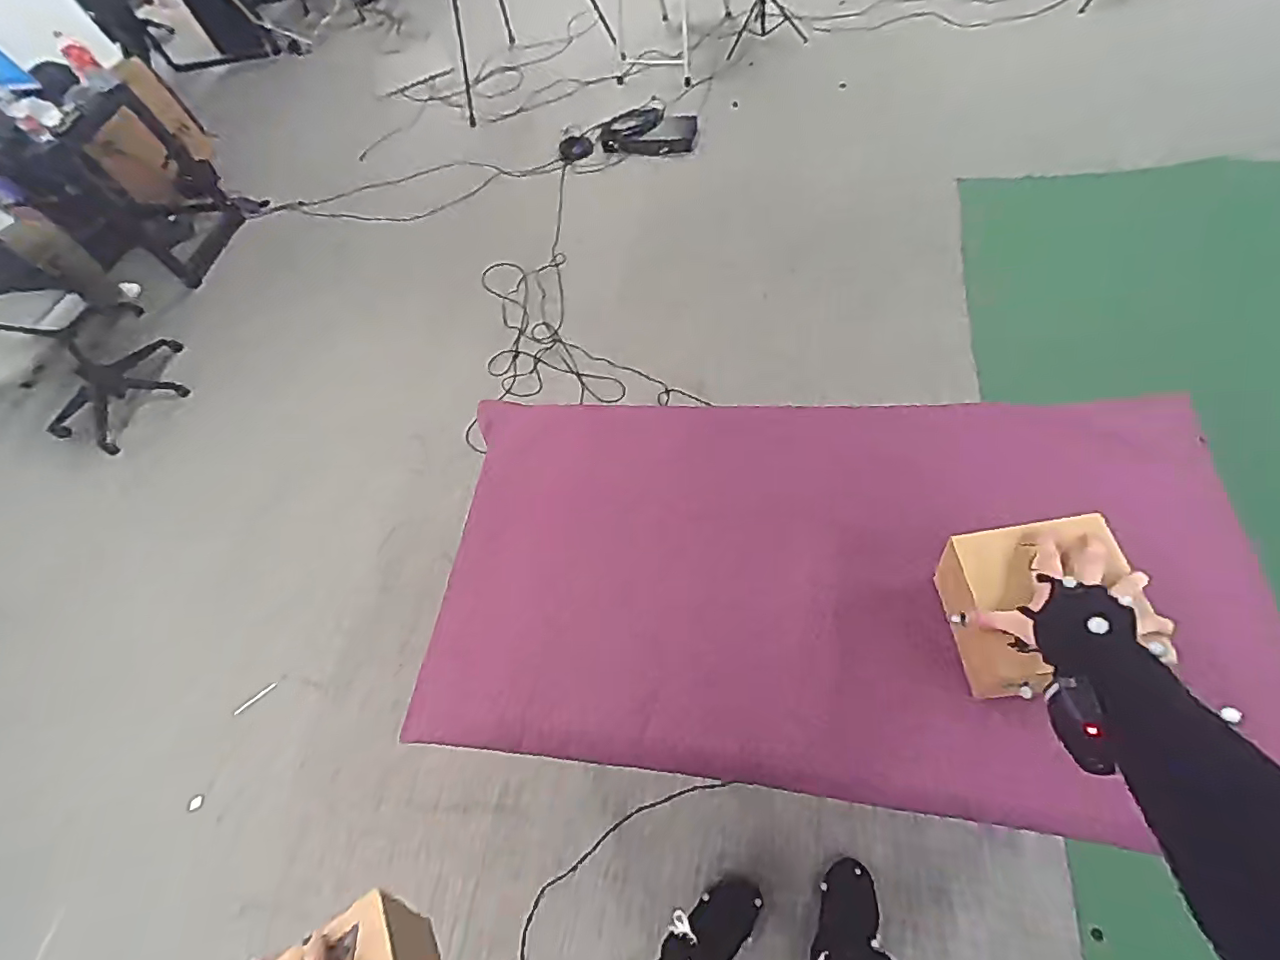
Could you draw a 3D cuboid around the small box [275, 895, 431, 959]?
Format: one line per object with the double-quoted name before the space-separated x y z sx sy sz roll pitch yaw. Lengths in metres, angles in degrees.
"small box" -0.321 0.617 0.590 0.168 0.176 0.179 -27 42 -21
